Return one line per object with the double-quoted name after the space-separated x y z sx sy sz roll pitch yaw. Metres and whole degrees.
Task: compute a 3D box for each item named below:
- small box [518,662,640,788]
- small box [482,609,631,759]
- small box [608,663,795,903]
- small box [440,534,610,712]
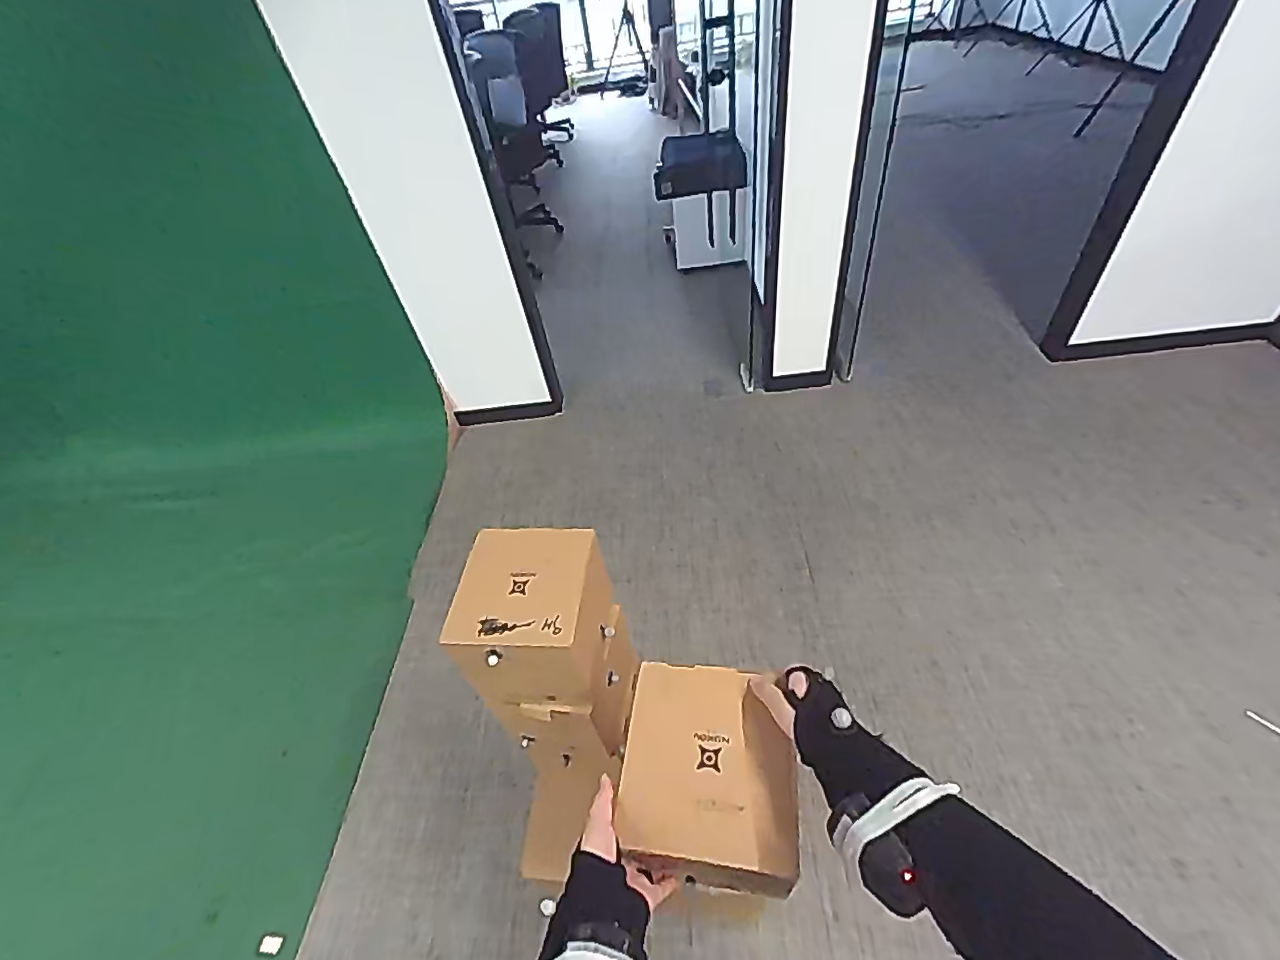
-0.091 0.431 0.966 0.179 0.176 0.168 3 47 12 "small box"
-0.117 0.314 0.852 0.168 0.176 0.179 4 45 14 "small box"
0.074 0.322 0.578 0.168 0.176 0.179 2 48 12 "small box"
-0.141 0.194 0.742 0.168 0.176 0.179 -2 44 9 "small box"
